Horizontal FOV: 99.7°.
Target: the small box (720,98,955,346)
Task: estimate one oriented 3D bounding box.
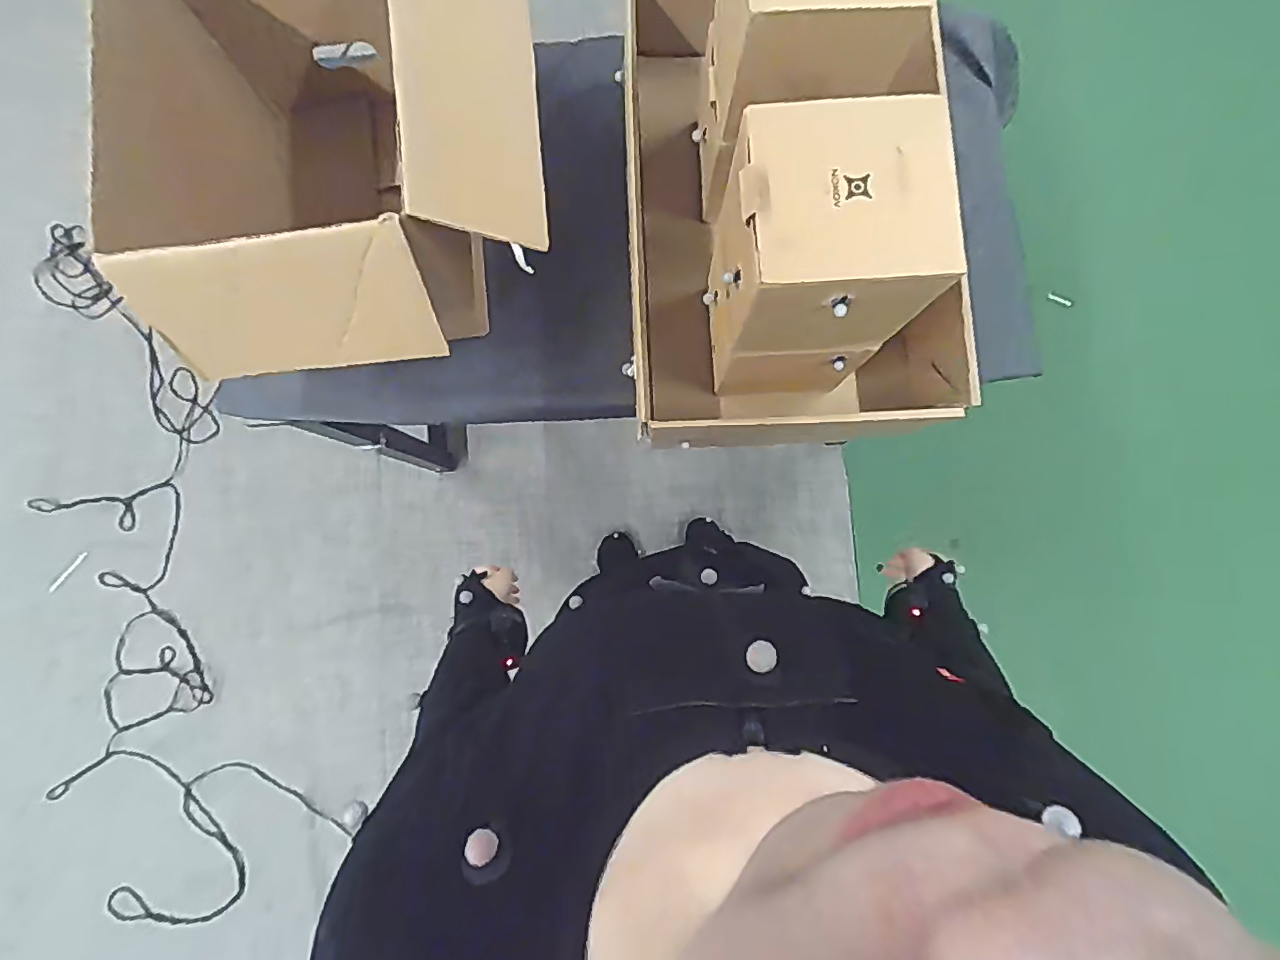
[{"bbox_3d":[0.178,-0.243,0.547,0.179,0.176,0.168,-3,85,-1],"label":"small box"}]

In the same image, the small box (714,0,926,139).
[{"bbox_3d":[0.172,-0.497,0.568,0.168,0.176,0.179,-1,87,-1],"label":"small box"}]
